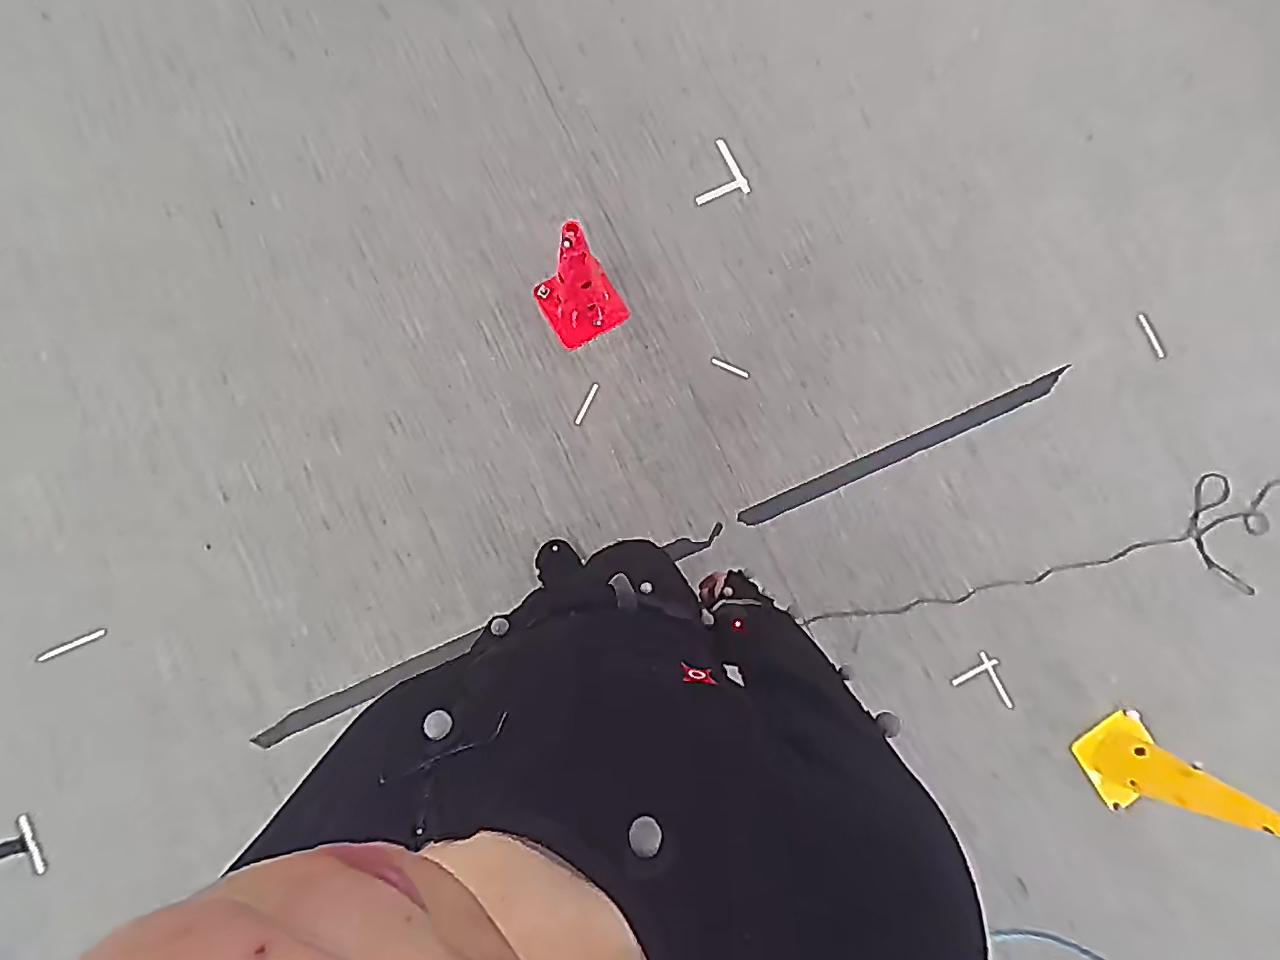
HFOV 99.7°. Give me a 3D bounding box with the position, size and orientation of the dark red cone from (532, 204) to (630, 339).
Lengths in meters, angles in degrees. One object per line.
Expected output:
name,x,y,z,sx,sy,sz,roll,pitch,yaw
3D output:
dark red cone,-0.141,-0.498,1.237,0.202,0.394,0.201,-32,88,-6
